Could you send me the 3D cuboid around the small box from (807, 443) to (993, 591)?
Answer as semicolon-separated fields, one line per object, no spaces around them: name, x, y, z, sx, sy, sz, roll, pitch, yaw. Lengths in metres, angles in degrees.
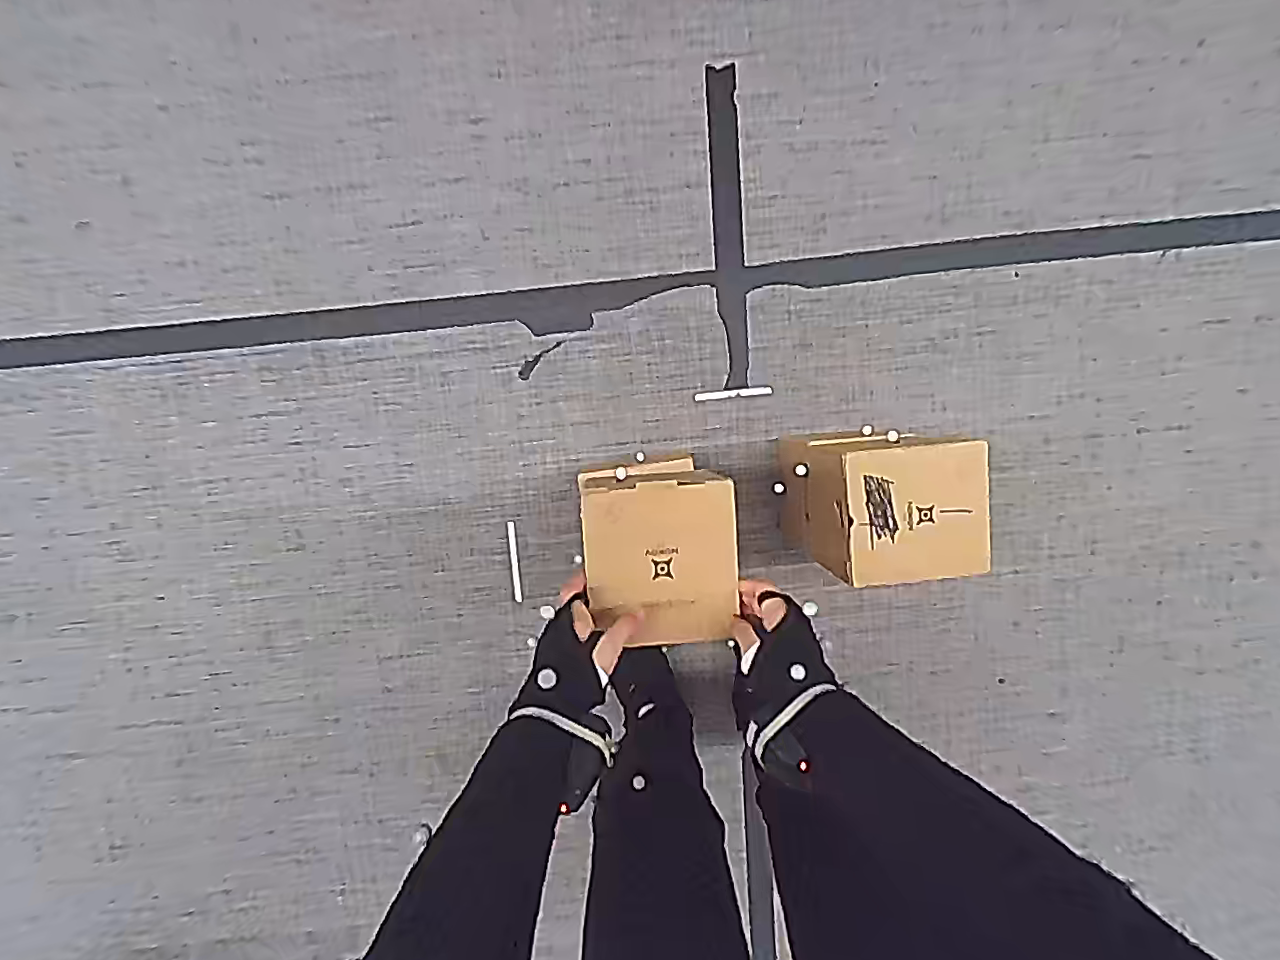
small box;0.332;0.040;0.724;0.179;0.176;0.168;-5;97;-2

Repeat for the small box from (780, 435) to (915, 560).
small box;0.333;0.021;0.889;0.168;0.176;0.179;-4;98;-1

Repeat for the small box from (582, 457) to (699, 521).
small box;0.007;0.058;0.884;0.179;0.176;0.168;-8;96;0

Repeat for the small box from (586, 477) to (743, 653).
small box;0.023;0.089;0.659;0.168;0.176;0.179;-4;95;-2
